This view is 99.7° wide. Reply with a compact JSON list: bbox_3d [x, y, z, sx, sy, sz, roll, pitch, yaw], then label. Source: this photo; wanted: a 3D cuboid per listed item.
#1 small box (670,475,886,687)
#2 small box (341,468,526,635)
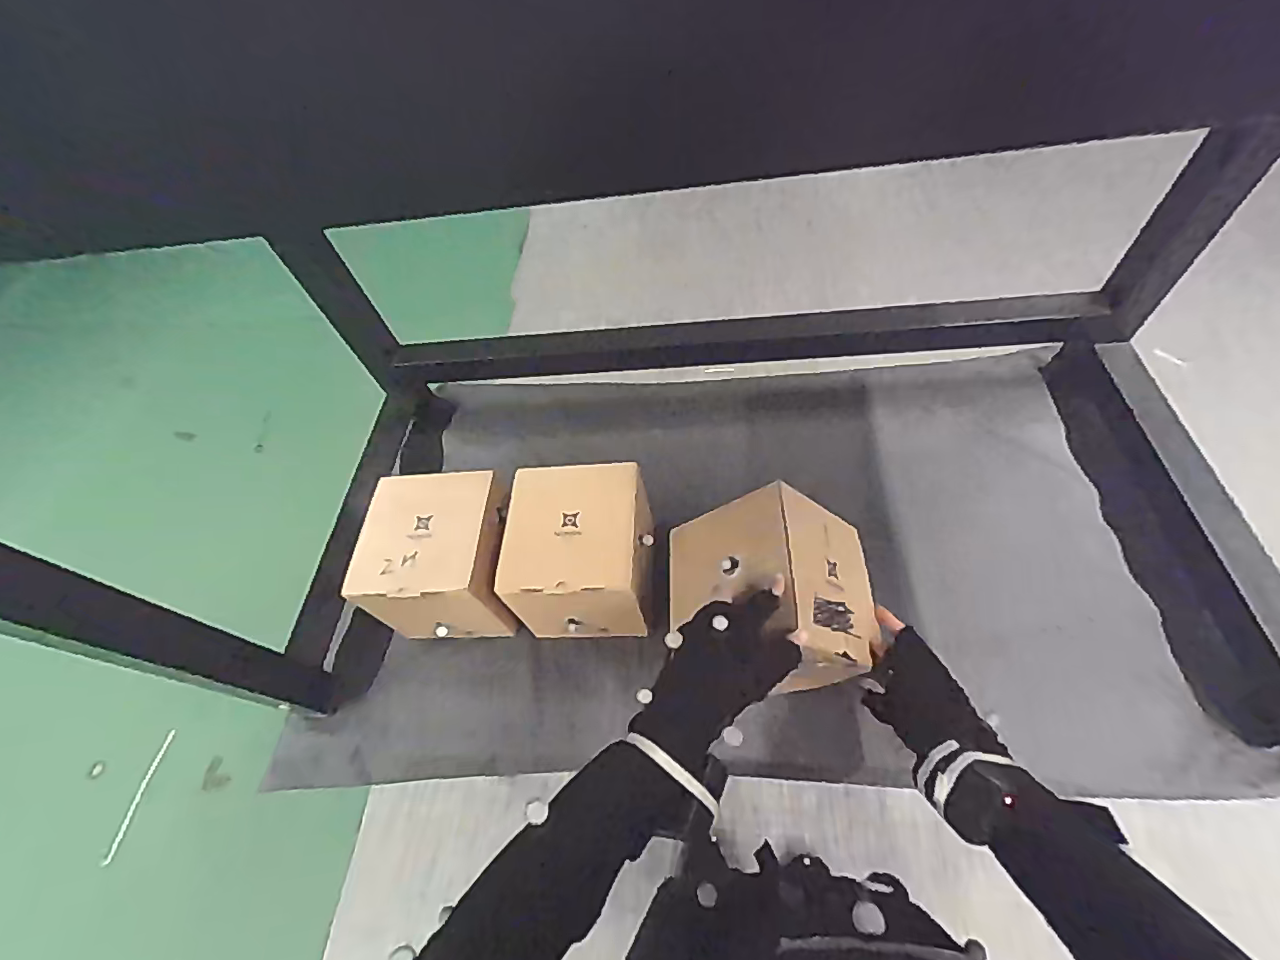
[{"bbox_3d":[0.148,0.128,0.623,0.176,0.168,0.179,-30,45,38],"label":"small box"},{"bbox_3d":[-0.268,0.103,0.753,0.168,0.176,0.179,-4,56,8],"label":"small box"}]
